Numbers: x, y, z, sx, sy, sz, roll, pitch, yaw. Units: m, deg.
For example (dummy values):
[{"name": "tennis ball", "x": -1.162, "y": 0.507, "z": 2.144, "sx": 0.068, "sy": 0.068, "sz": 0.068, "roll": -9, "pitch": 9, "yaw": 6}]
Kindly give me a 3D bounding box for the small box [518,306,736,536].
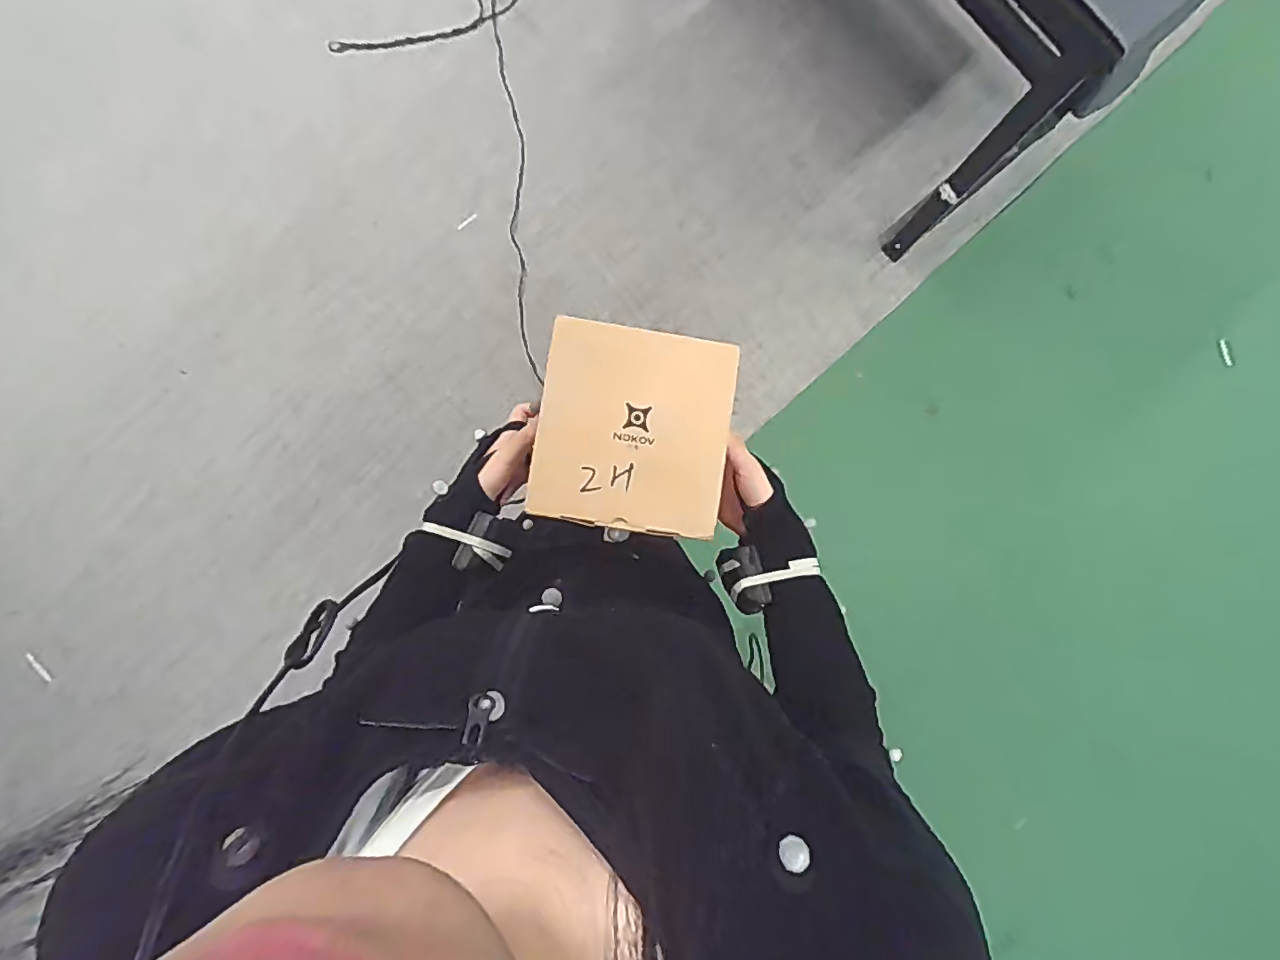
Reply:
[{"name": "small box", "x": -0.015, "y": -0.045, "z": 0.536, "sx": 0.168, "sy": 0.176, "sz": 0.179, "roll": 9, "pitch": 86, "yaw": -3}]
